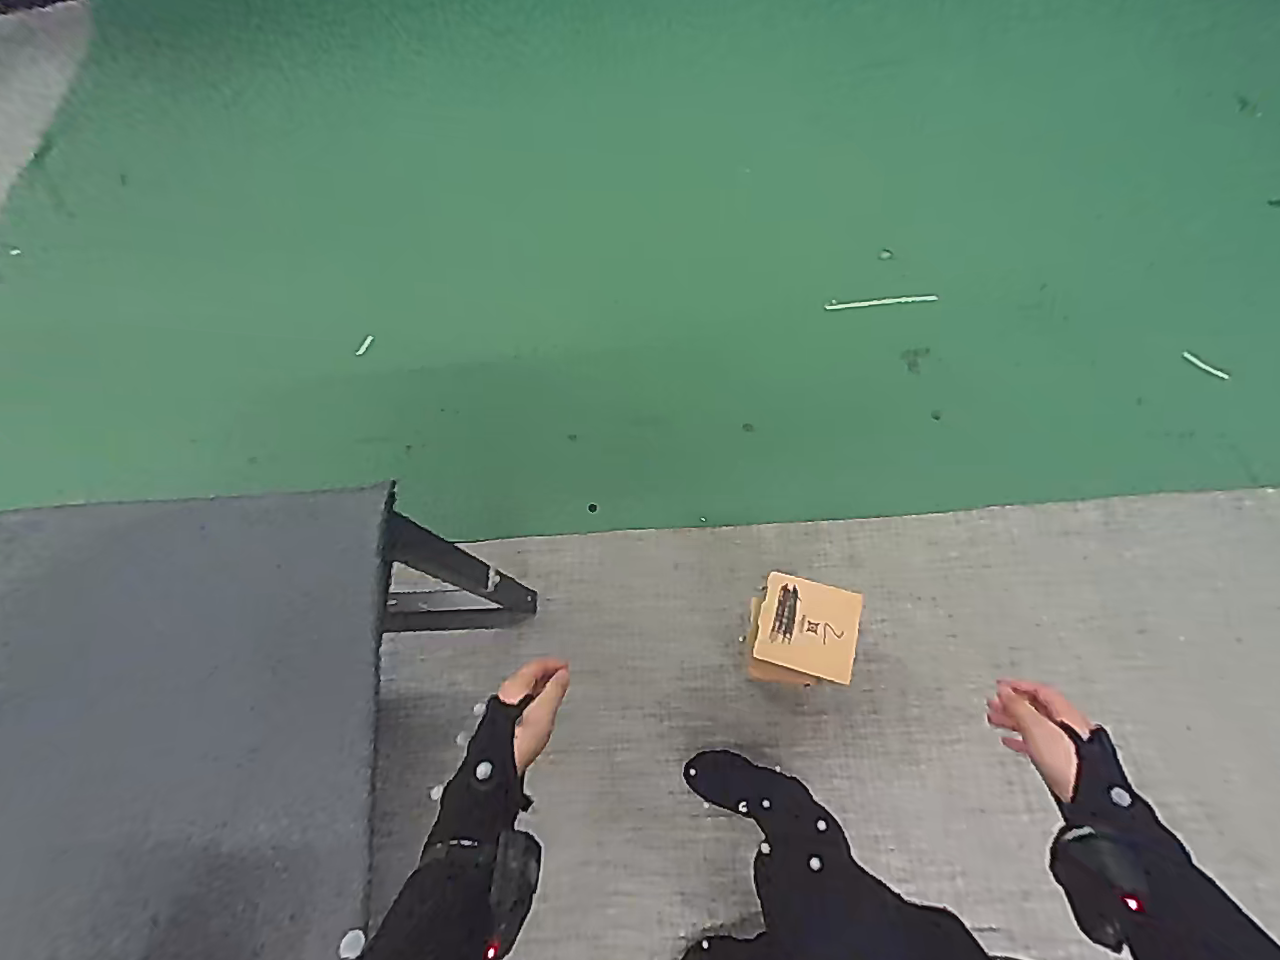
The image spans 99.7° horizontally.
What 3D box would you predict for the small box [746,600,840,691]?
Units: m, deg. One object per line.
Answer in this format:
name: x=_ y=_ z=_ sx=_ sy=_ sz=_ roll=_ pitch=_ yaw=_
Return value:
small box: x=0.335 y=0.370 z=1.203 sx=0.179 sy=0.176 sz=0.168 roll=4 pitch=69 yaw=9
